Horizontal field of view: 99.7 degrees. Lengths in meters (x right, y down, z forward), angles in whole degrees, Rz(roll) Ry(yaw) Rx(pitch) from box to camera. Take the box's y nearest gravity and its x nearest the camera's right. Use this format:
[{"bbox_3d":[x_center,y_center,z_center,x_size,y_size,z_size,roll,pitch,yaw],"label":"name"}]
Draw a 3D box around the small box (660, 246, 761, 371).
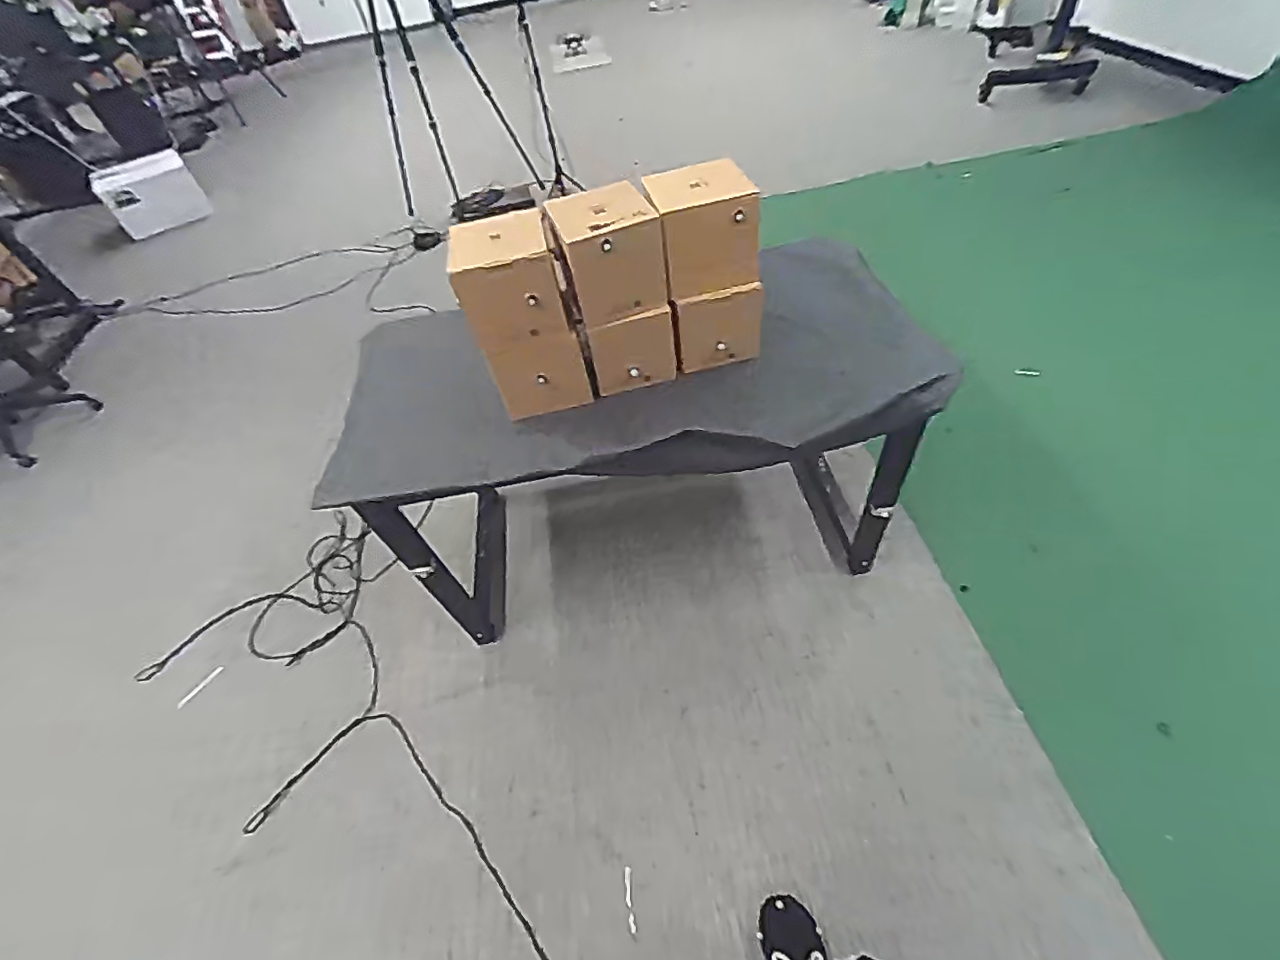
[{"bbox_3d":[0.144,-0.357,1.130,0.168,0.176,0.179,-14,50,0],"label":"small box"}]
